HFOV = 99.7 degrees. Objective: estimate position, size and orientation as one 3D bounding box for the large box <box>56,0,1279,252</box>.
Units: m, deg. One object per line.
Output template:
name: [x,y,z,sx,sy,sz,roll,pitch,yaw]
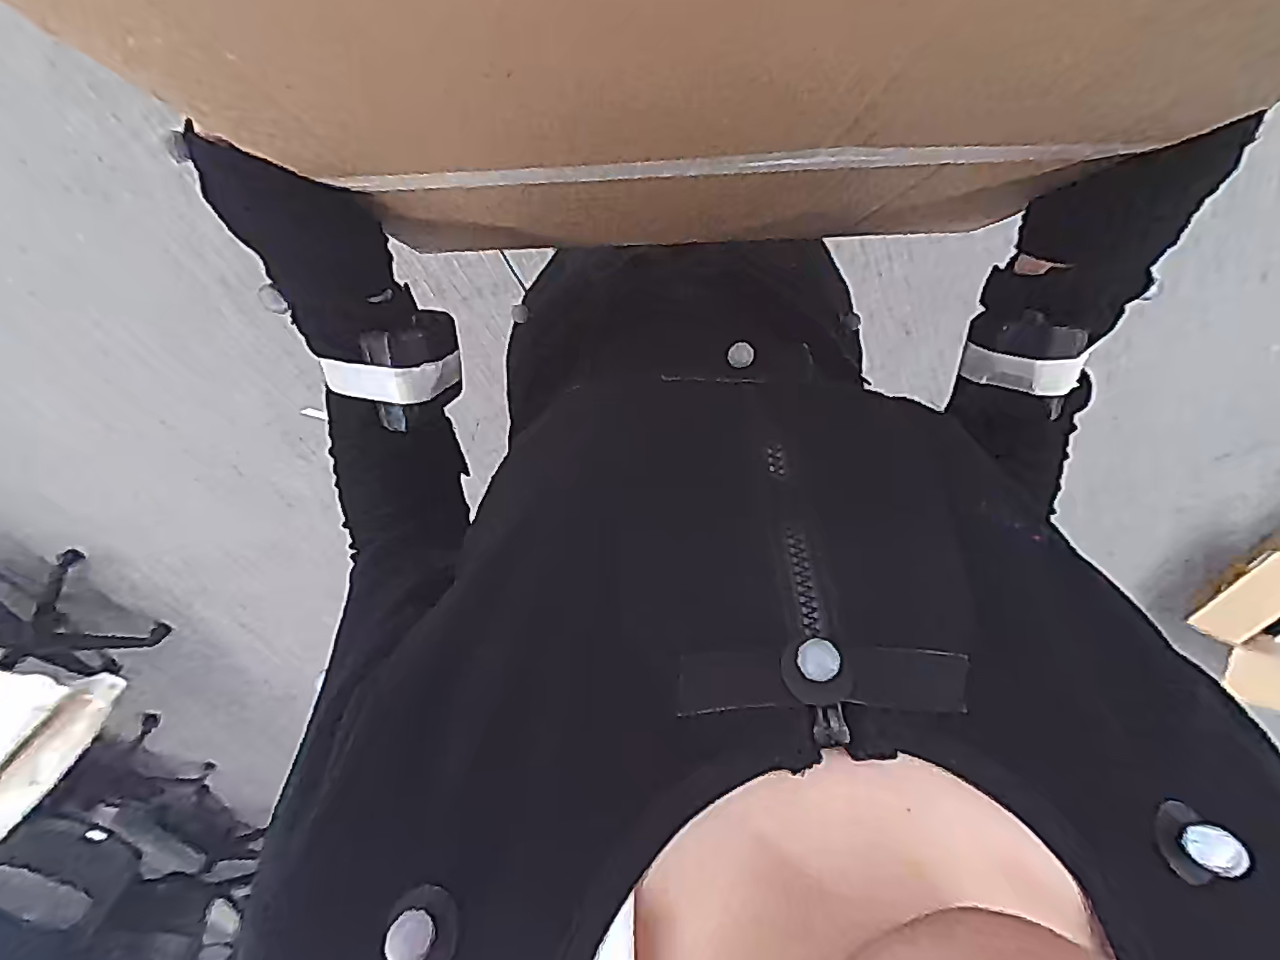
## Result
large box: [0.032,-0.303,0.225,0.408,0.320,0.320,-4,101,-1]
